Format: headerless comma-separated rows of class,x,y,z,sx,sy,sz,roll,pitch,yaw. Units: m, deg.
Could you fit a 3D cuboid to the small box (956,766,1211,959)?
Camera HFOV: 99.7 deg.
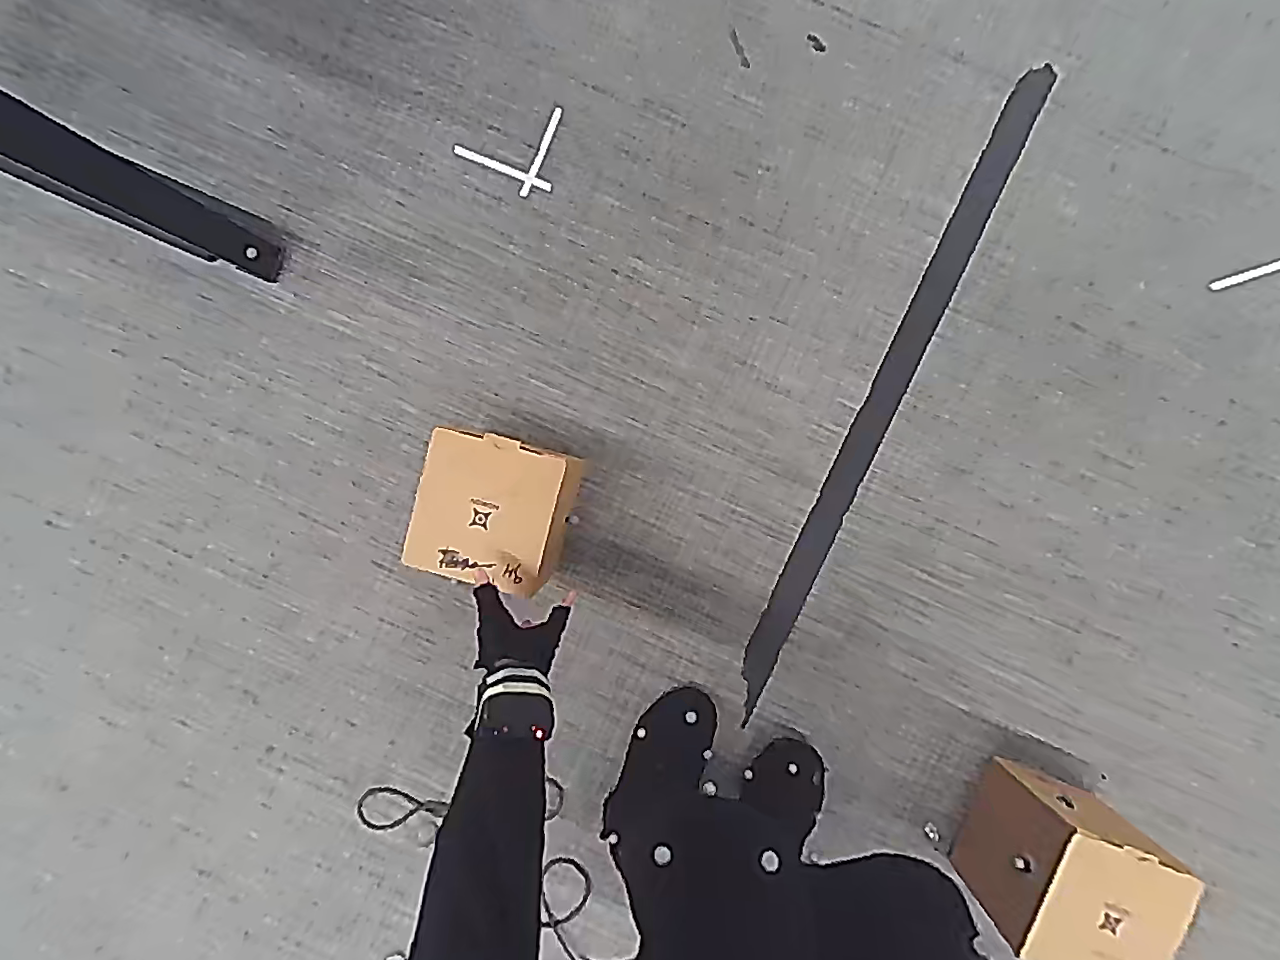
small box,0.556,0.517,0.707,0.168,0.176,0.179,22,93,2

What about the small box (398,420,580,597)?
small box,-0.184,0.033,0.714,0.168,0.176,0.179,15,91,2
